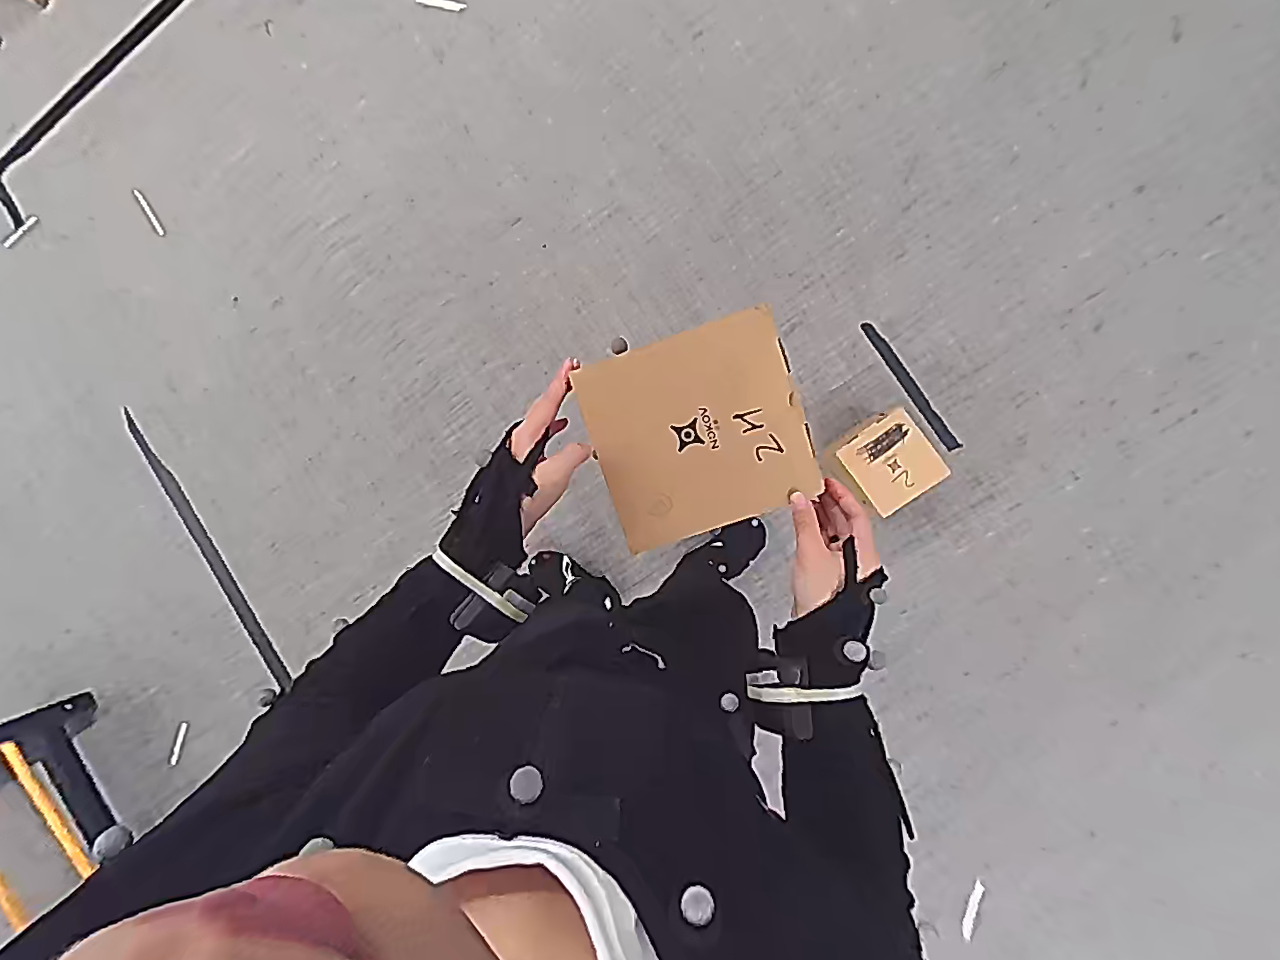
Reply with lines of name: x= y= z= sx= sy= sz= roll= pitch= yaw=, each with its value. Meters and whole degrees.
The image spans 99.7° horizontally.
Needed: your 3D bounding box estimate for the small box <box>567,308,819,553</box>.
small box: x=0.049 y=-0.049 z=0.529 sx=0.179 sy=0.176 sz=0.168 roll=-18 pitch=98 yaw=5
